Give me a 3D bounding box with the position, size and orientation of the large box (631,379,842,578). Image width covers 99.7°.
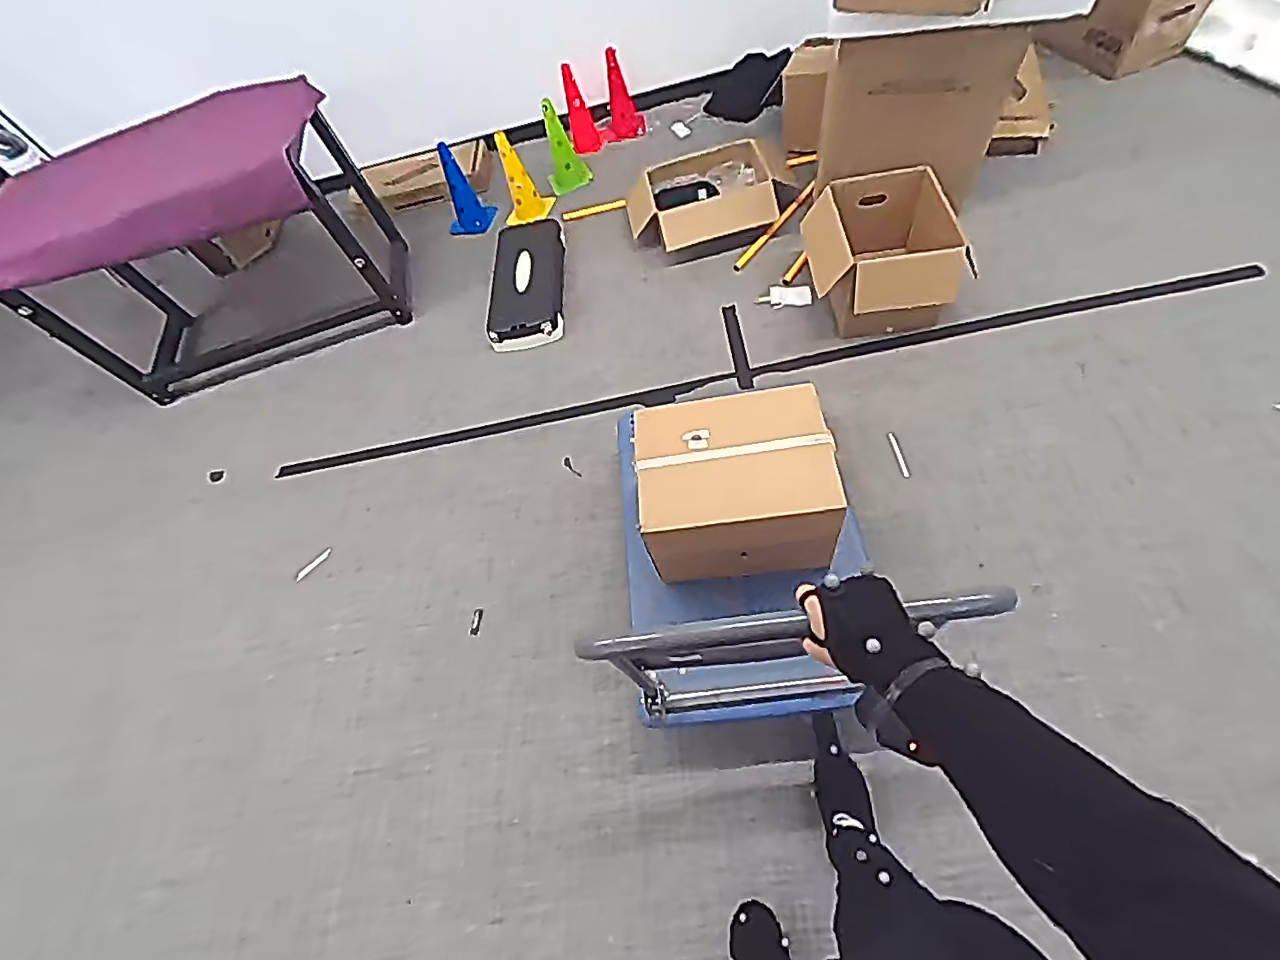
[{"bbox_3d":[0.213,0.013,1.253,0.408,0.320,0.320,-9,58,9],"label":"large box"}]
